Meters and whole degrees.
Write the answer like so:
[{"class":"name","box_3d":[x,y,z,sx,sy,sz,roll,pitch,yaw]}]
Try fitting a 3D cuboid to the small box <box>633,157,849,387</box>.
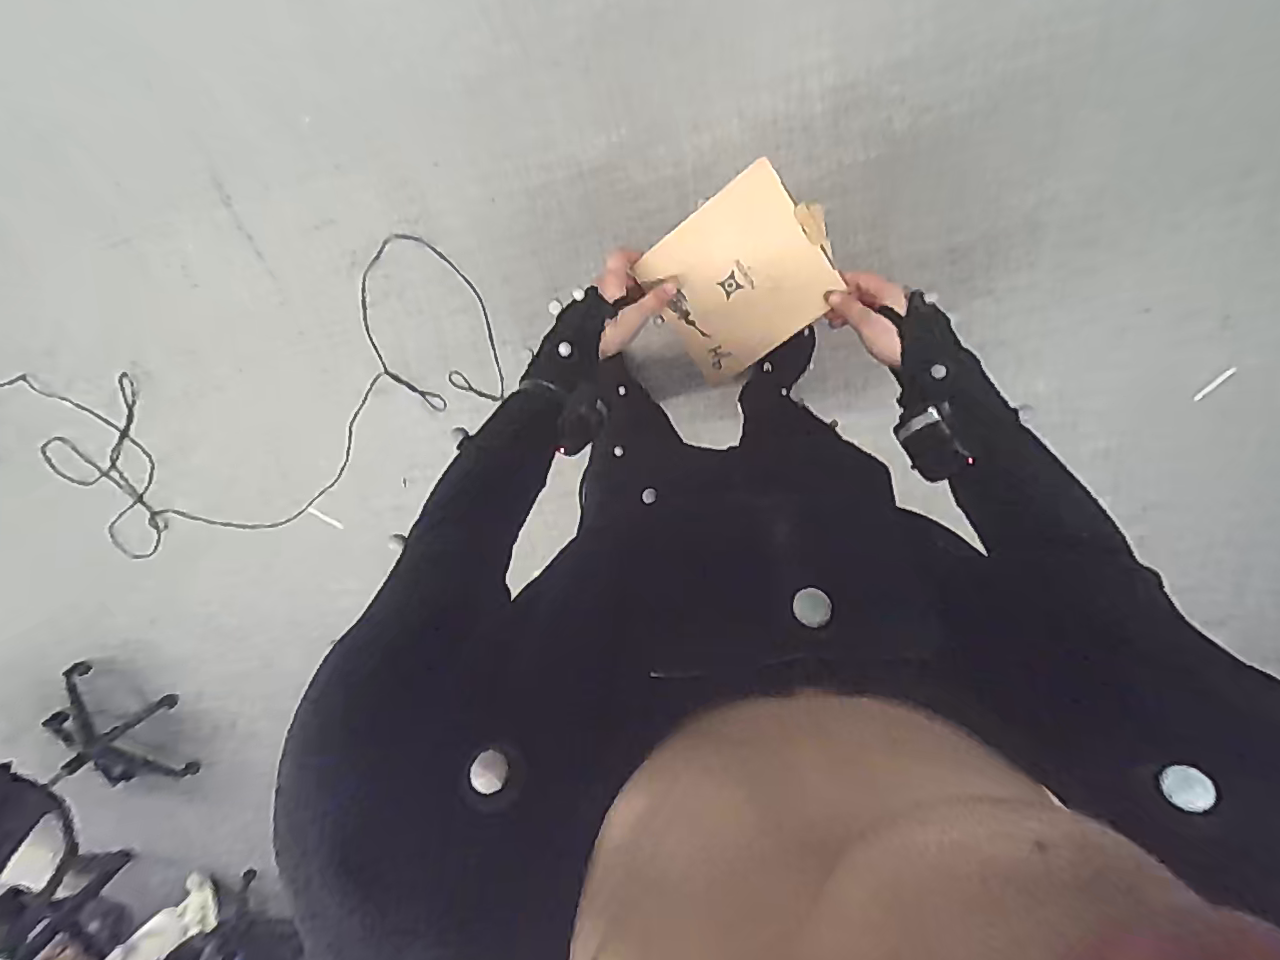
[{"class":"small box","box_3d":[0.114,-0.241,0.646,0.179,0.176,0.168,-34,103,19]}]
